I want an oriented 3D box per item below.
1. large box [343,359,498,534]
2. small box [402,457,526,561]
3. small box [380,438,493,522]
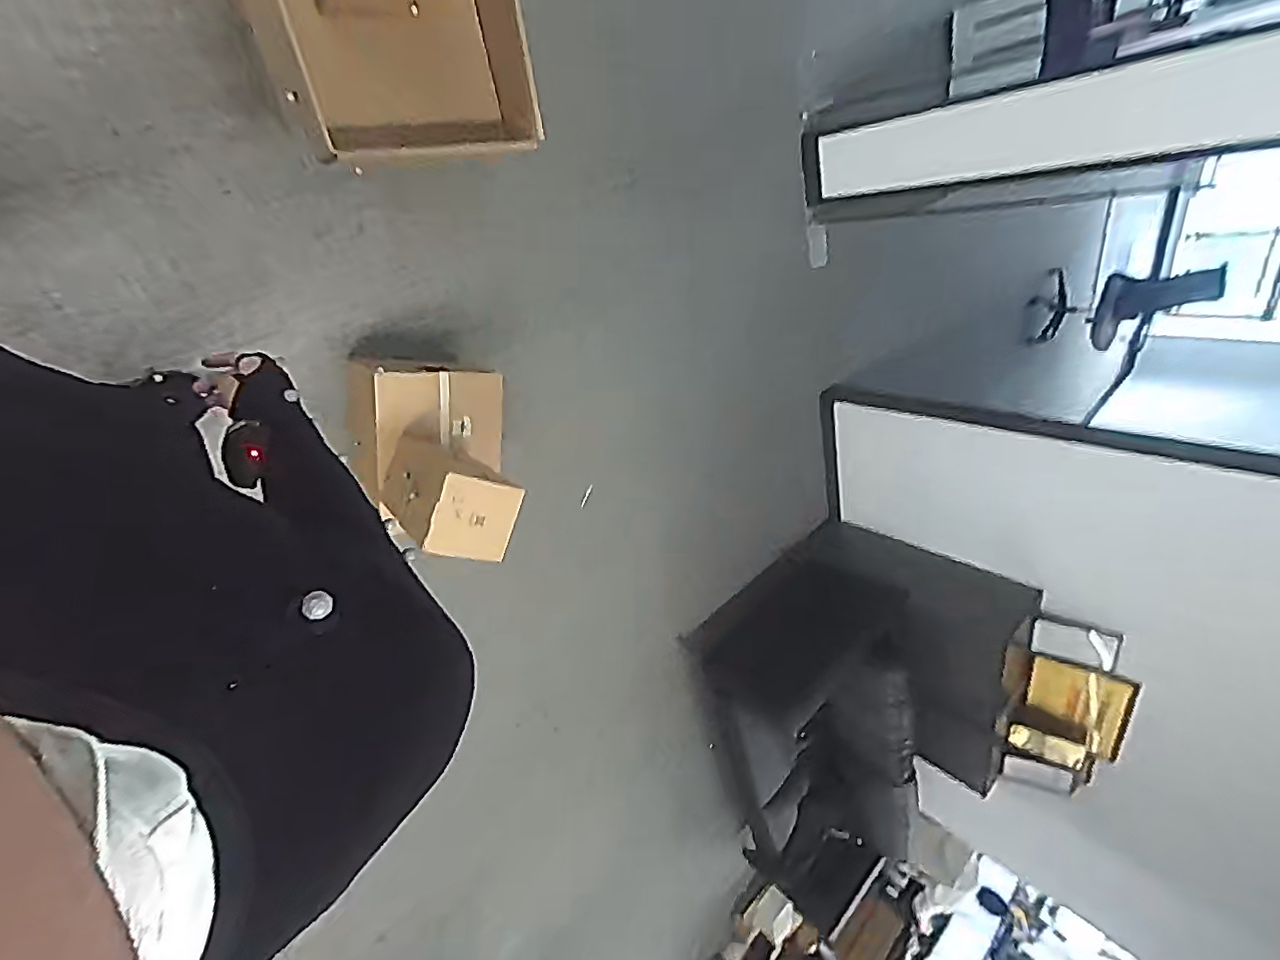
[{"bbox_3d":[-0.595,-0.109,1.470,0.320,0.320,0.408,-9,110,-39],"label":"large box"},{"bbox_3d":[-0.378,0.058,1.154,0.179,0.176,0.168,16,94,-41],"label":"small box"},{"bbox_3d":[-0.481,0.011,1.275,0.179,0.176,0.168,18,93,-43],"label":"small box"}]
